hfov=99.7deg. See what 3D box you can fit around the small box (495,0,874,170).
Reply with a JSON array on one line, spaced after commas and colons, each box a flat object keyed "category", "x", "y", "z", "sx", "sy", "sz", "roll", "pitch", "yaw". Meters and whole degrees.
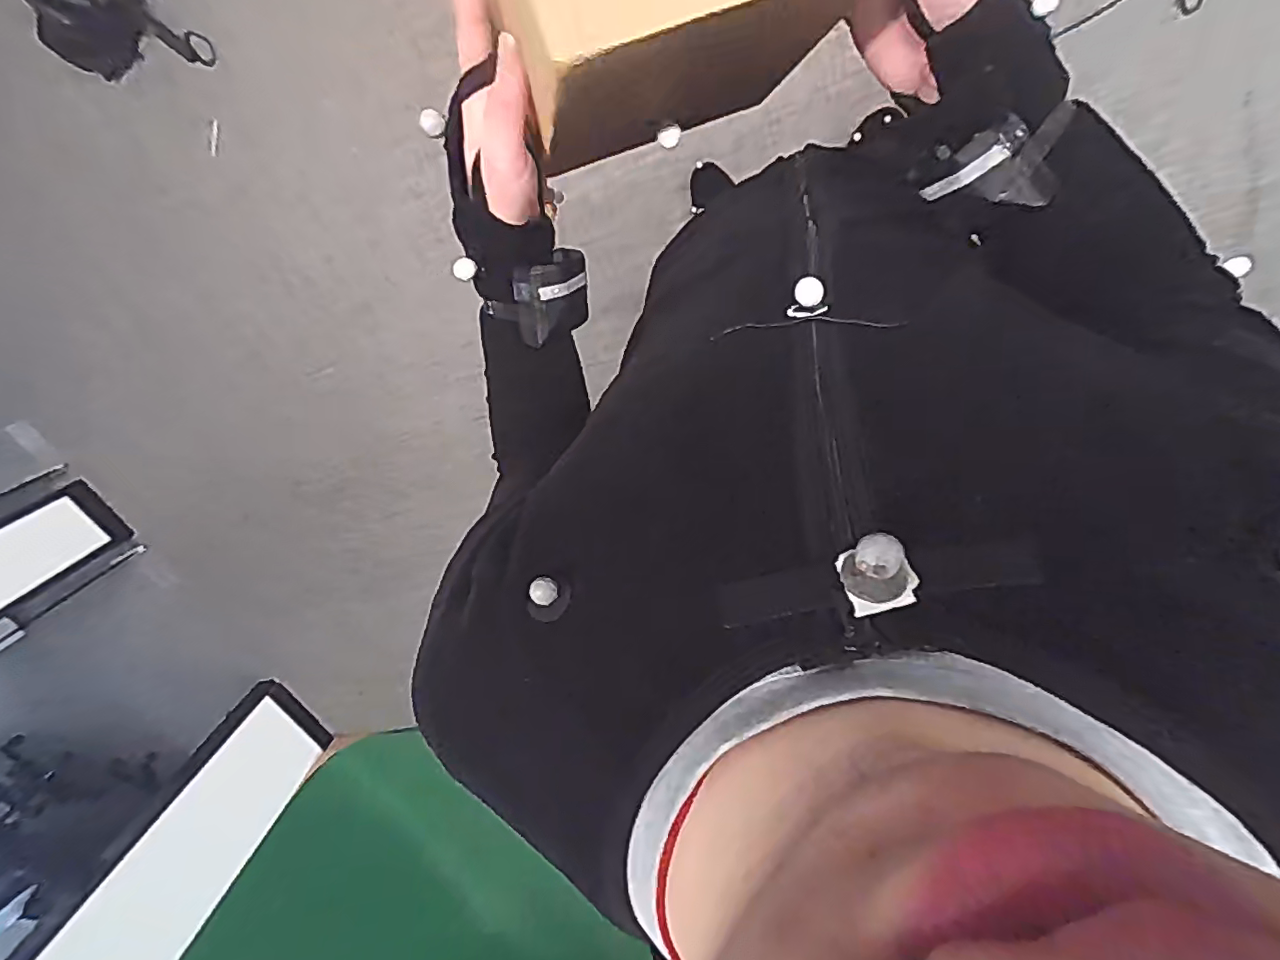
[{"category": "small box", "x": 0.004, "y": -0.296, "z": 0.278, "sx": 0.168, "sy": 0.176, "sz": 0.179, "roll": -22, "pitch": 109, "yaw": -6}]
